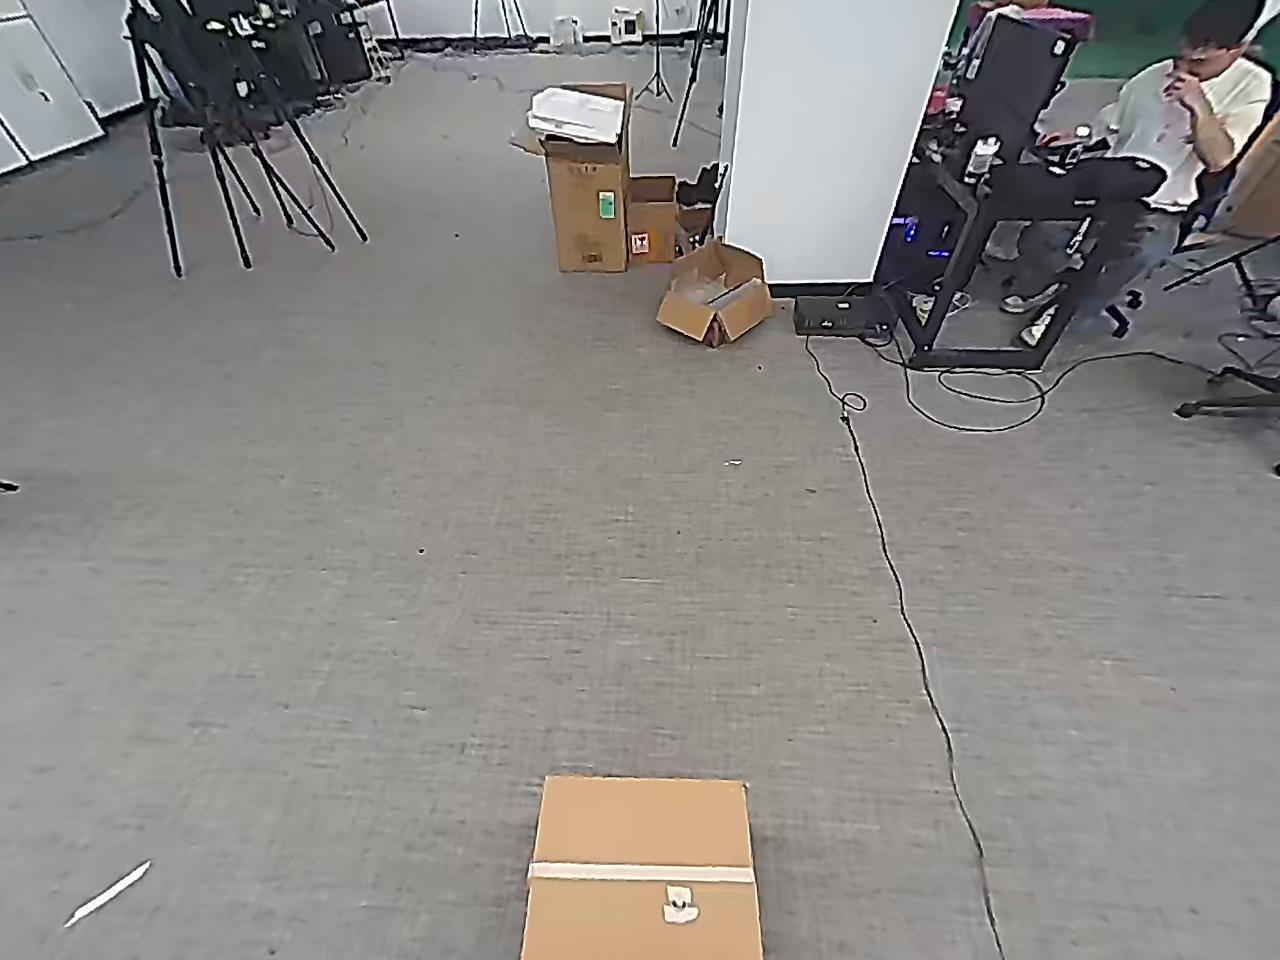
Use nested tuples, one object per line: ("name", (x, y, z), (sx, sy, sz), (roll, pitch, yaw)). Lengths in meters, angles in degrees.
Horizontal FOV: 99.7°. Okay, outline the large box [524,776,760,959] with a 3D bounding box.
("large box", (0.002, 0.819, 1.094), (0.408, 0.320, 0.320), (1, 46, 1))
